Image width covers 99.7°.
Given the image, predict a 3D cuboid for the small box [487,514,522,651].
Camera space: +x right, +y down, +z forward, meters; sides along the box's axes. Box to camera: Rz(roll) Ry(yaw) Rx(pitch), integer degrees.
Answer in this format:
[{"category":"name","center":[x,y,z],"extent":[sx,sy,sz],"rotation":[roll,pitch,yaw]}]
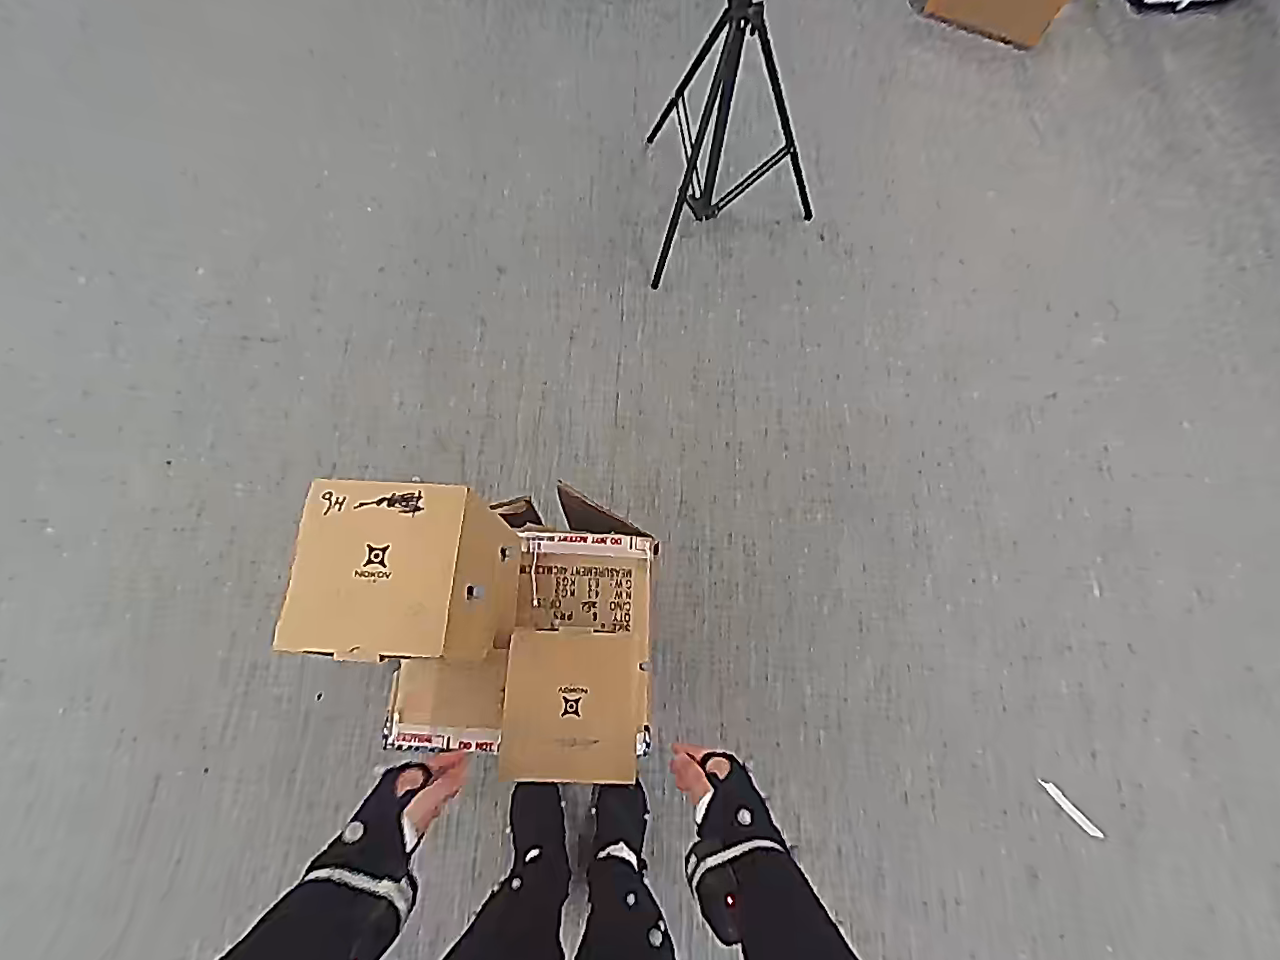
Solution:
[{"category":"small box","center":[-0.270,0.152,0.778],"extent":[0.168,0.176,0.179],"rotation":[1,73,0]}]

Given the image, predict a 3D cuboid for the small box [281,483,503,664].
[{"category":"small box","center":[-0.263,0.111,0.619],"extent":[0.168,0.176,0.179],"rotation":[2,73,0]}]
